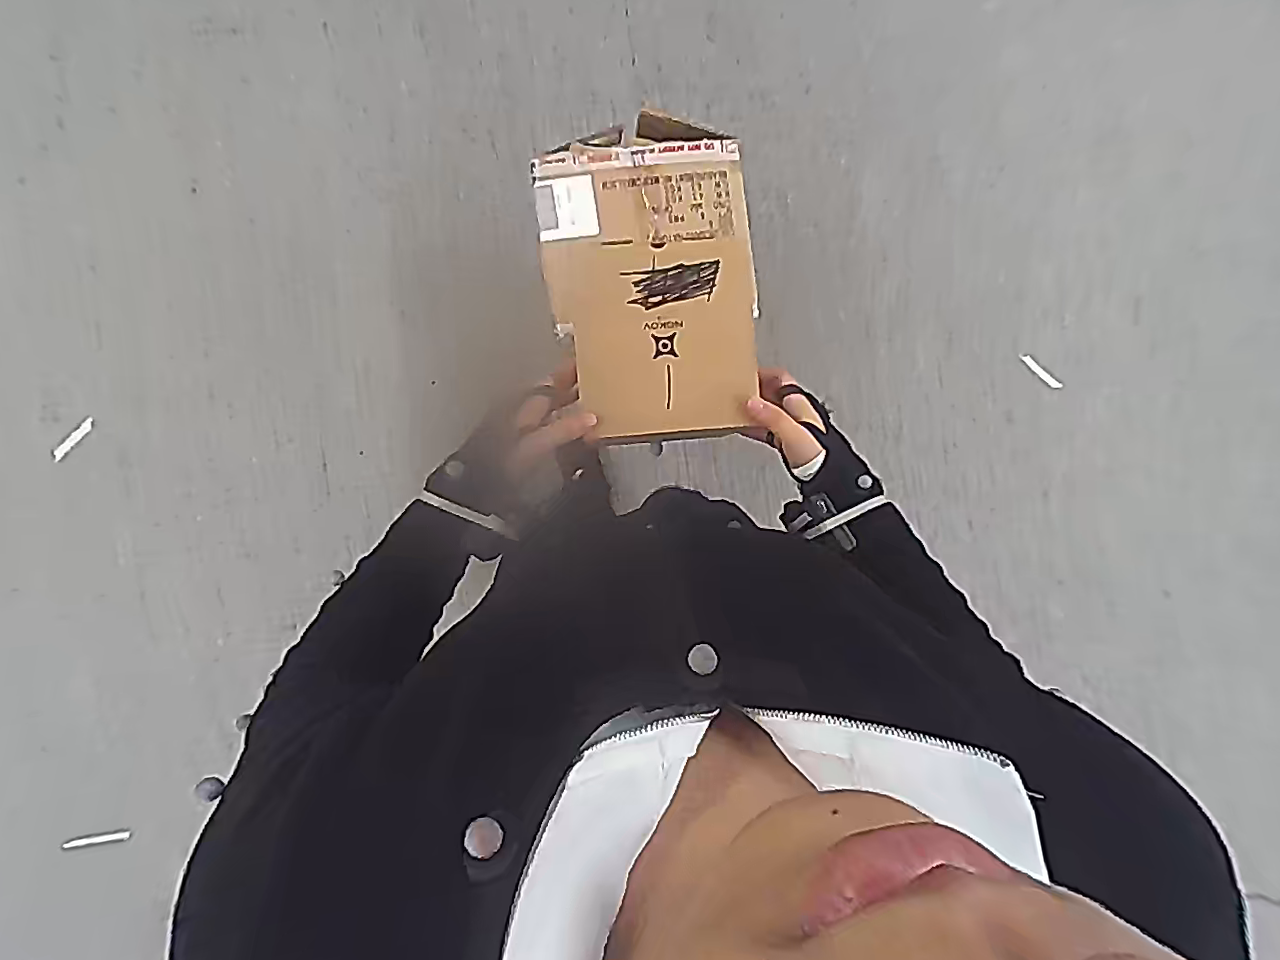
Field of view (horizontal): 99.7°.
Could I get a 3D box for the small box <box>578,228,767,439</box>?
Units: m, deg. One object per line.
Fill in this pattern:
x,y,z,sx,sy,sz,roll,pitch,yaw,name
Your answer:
0.025,-0.139,0.566,0.168,0.176,0.179,-4,92,-2,small box
